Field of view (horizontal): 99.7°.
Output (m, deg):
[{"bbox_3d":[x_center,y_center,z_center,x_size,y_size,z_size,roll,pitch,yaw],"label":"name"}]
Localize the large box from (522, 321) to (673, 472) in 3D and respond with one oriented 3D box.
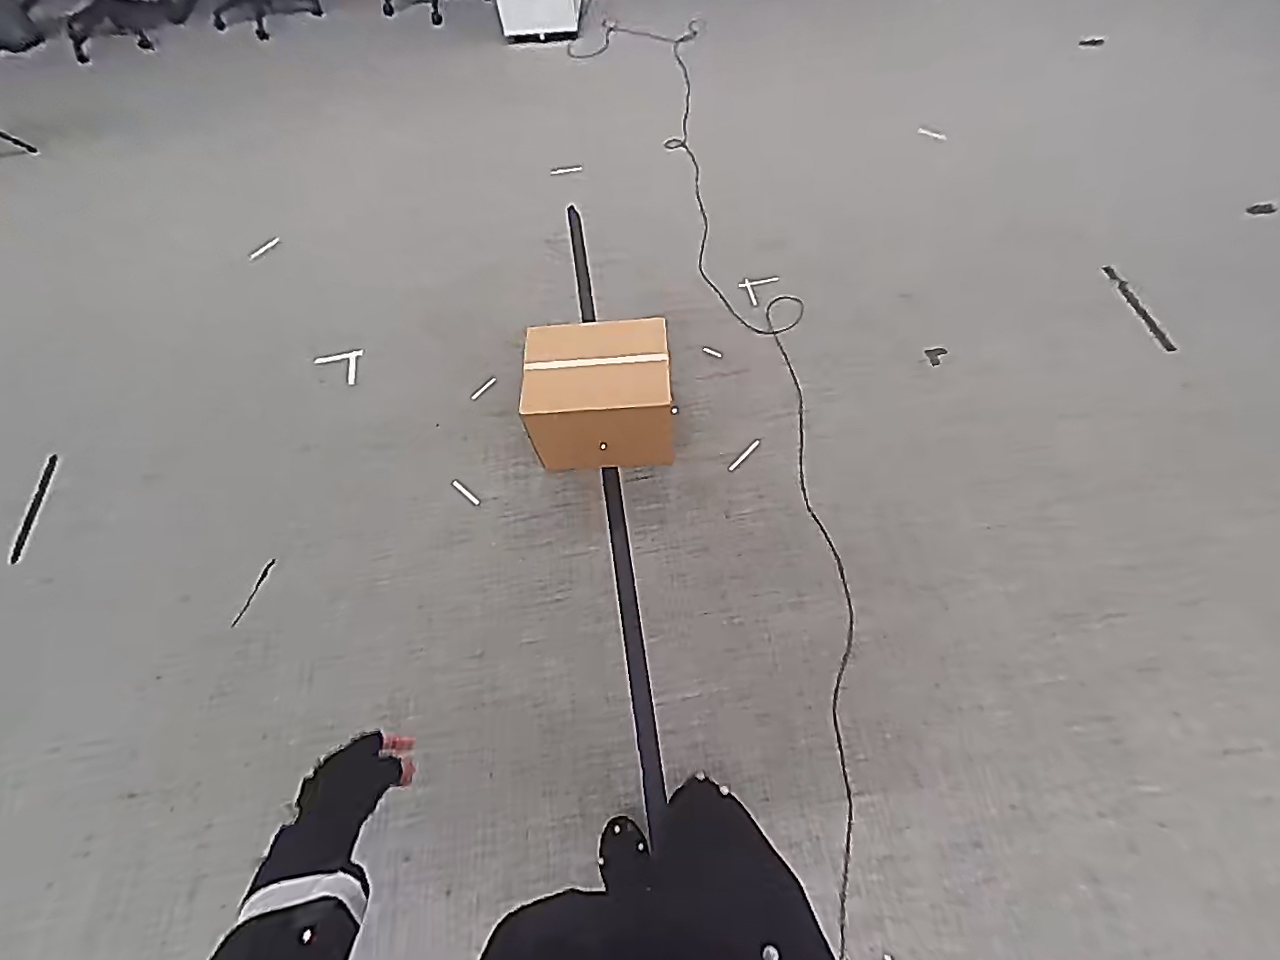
[{"bbox_3d":[-0.112,-0.238,1.611,0.408,0.320,0.320,-3,62,2],"label":"large box"}]
